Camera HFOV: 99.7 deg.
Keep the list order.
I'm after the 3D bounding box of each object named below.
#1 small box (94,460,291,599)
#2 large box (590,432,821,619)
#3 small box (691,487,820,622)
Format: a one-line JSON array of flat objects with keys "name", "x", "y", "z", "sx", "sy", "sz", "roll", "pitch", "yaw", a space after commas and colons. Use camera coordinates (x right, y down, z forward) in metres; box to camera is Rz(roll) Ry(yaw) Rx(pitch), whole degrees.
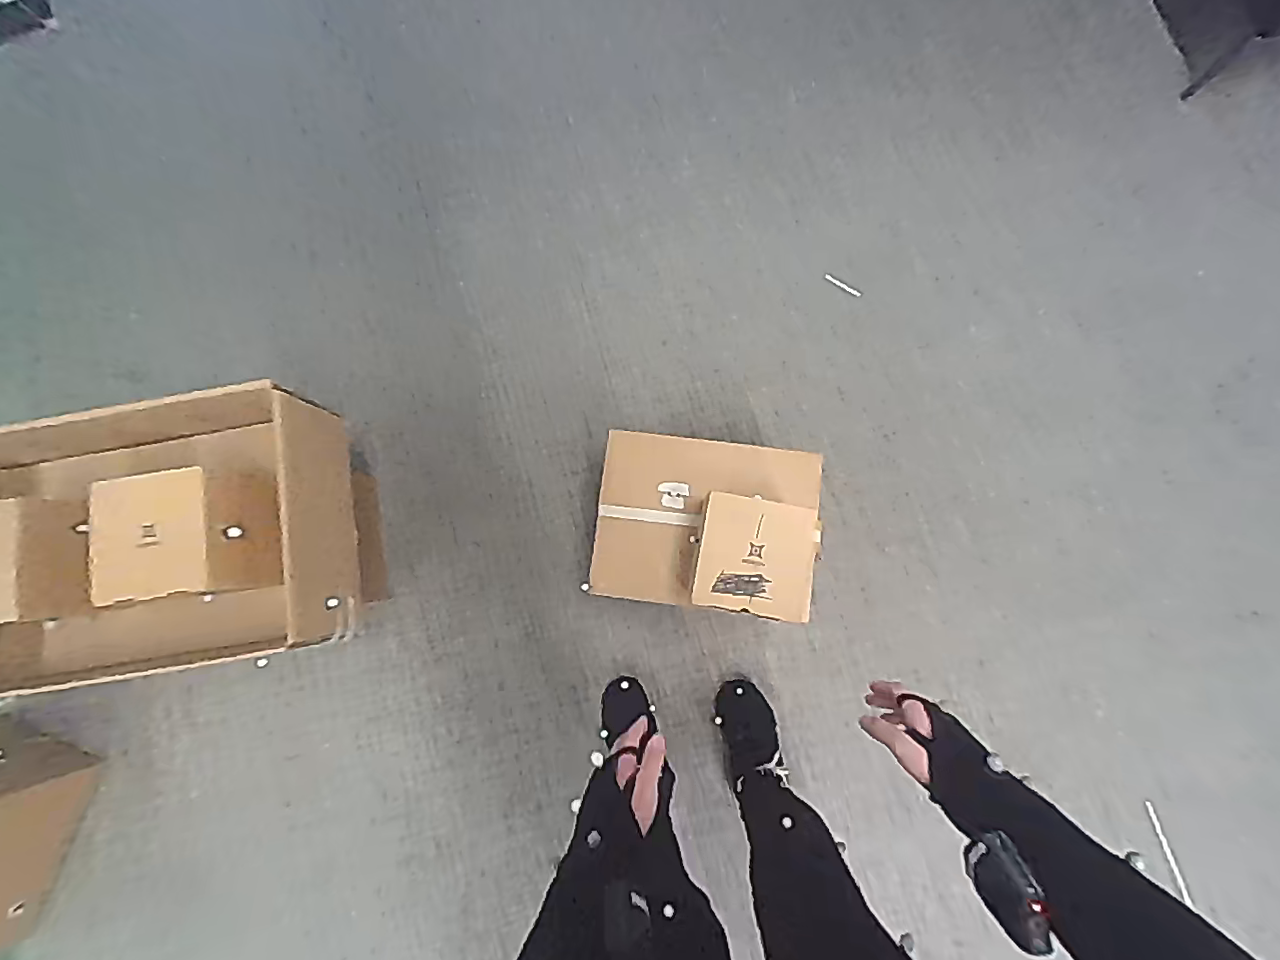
[{"name": "small box", "x": -0.668, "y": 0.078, "z": 0.825, "sx": 0.168, "sy": 0.176, "sz": 0.179, "roll": -9, "pitch": 83, "yaw": 2}, {"name": "large box", "x": 0.133, "y": 0.098, "z": 1.138, "sx": 0.408, "sy": 0.320, "sz": 0.320, "roll": 7, "pitch": 82, "yaw": 5}, {"name": "small box", "x": 0.179, "y": 0.118, "z": 0.884, "sx": 0.168, "sy": 0.176, "sz": 0.179, "roll": 11, "pitch": 84, "yaw": 4}]
